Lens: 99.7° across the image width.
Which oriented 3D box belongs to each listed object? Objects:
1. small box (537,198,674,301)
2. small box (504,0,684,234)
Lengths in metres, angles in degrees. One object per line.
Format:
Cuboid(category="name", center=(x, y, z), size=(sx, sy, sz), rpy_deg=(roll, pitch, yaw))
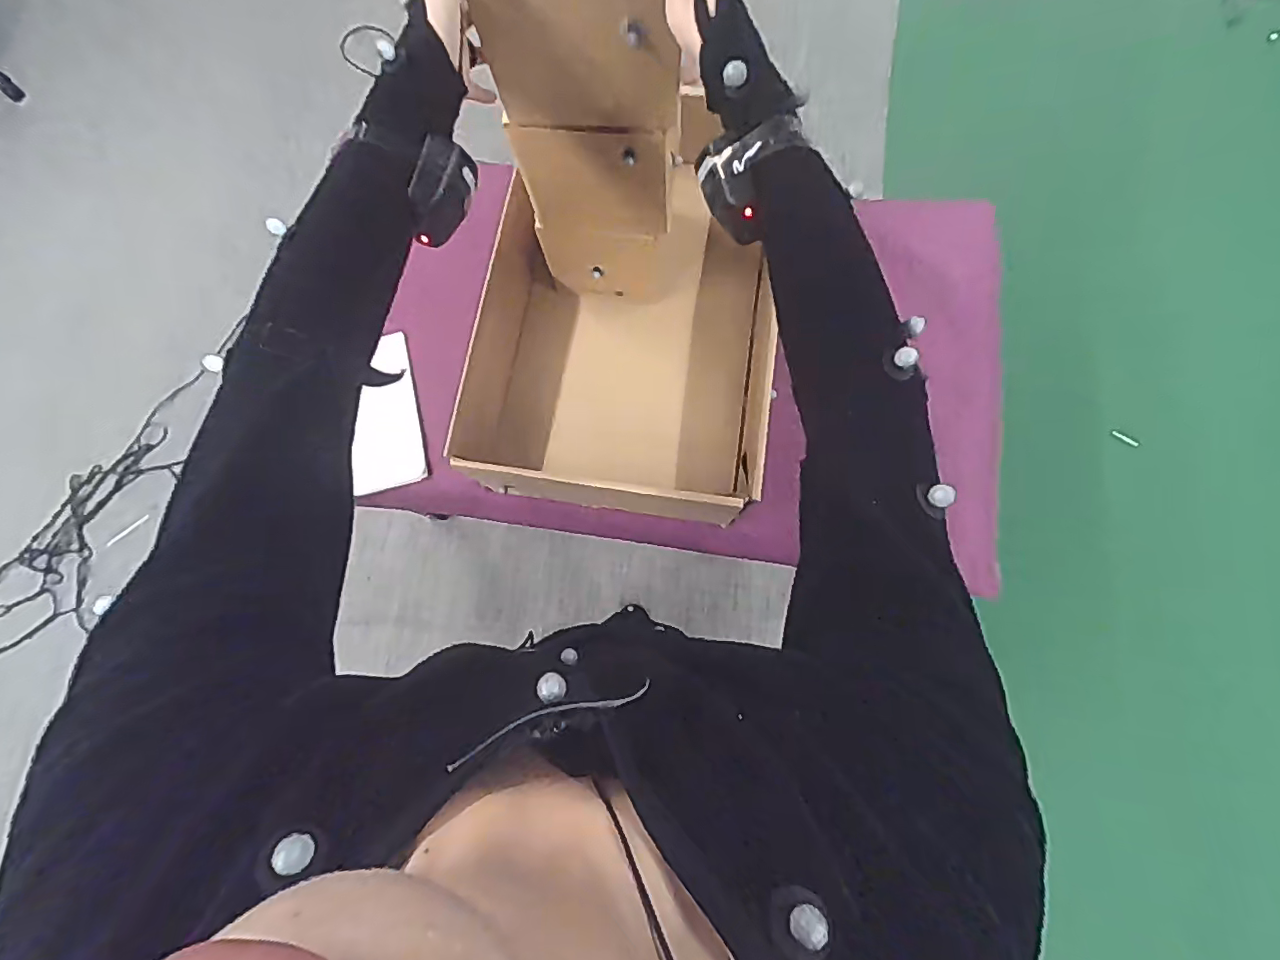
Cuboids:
Cuboid(category="small box", center=(-0.040, -0.391, 0.808), size=(0.168, 0.176, 0.179), rpy_deg=(8, 79, 4))
Cuboid(category="small box", center=(-0.043, -0.422, 0.649), size=(0.179, 0.176, 0.168), rpy_deg=(6, 78, 4))
